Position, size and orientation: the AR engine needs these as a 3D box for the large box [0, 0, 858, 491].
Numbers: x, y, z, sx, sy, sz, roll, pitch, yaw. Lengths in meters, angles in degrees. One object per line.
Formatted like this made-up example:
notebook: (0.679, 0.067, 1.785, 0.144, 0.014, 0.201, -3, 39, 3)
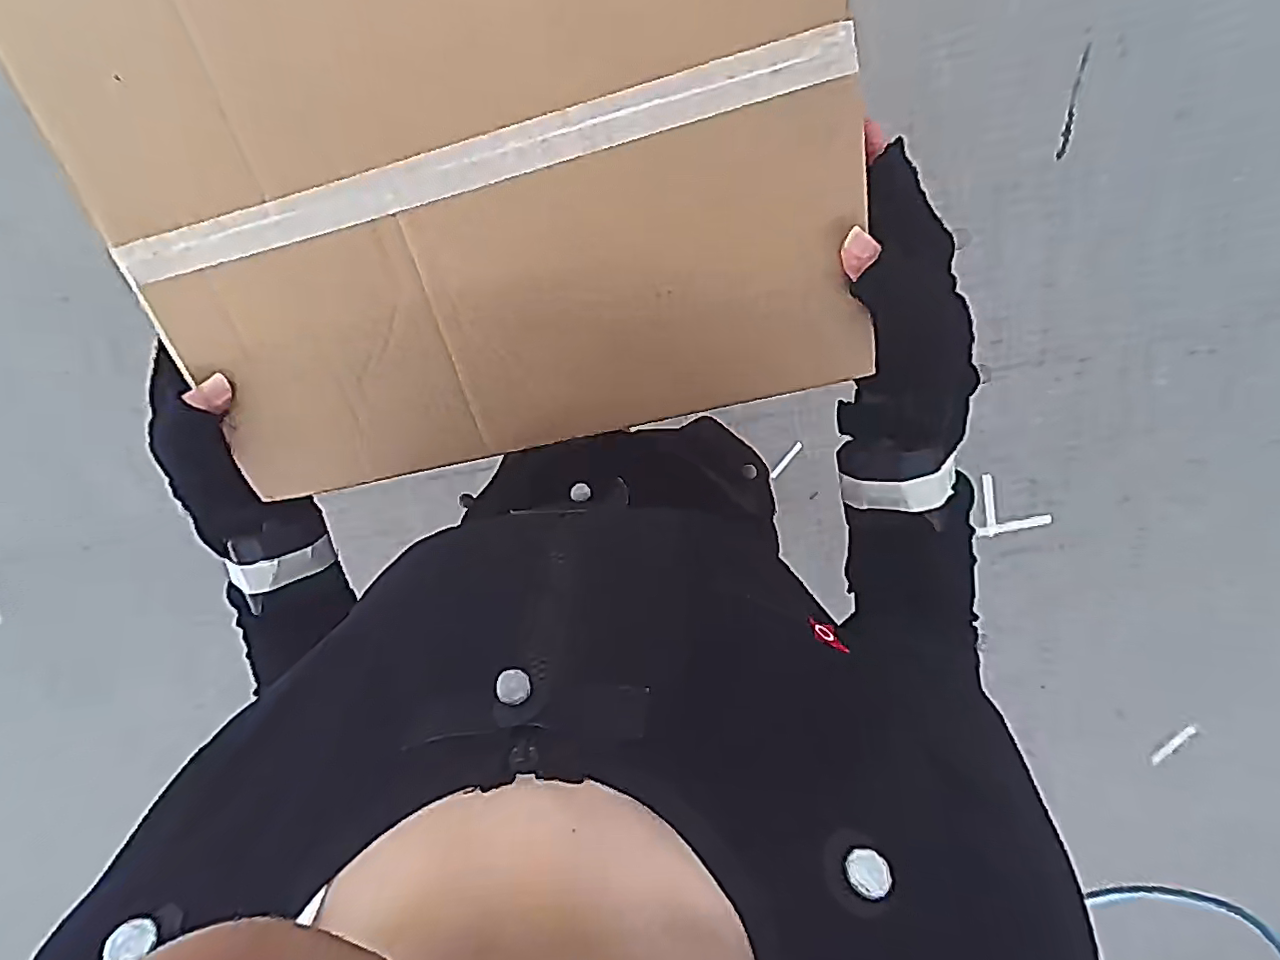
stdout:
large box: (-0.089, -0.231, 0.423, 0.408, 0.320, 0.320, -11, 114, 9)
